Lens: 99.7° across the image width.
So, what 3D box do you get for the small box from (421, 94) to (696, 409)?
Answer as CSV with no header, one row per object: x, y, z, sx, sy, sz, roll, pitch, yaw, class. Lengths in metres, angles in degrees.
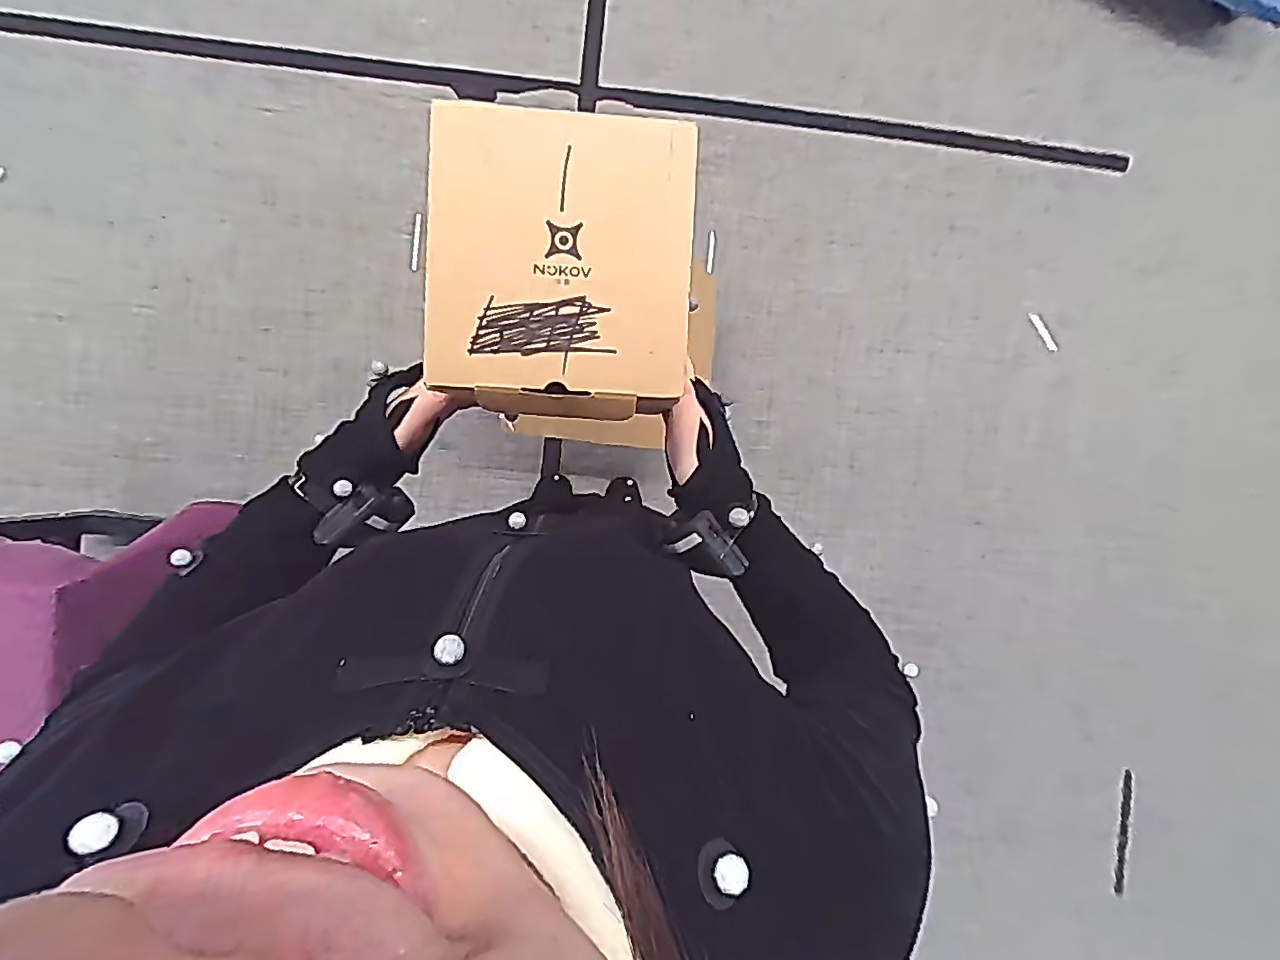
-0.055,-0.149,0.416,0.168,0.176,0.179,3,94,-4,small box
